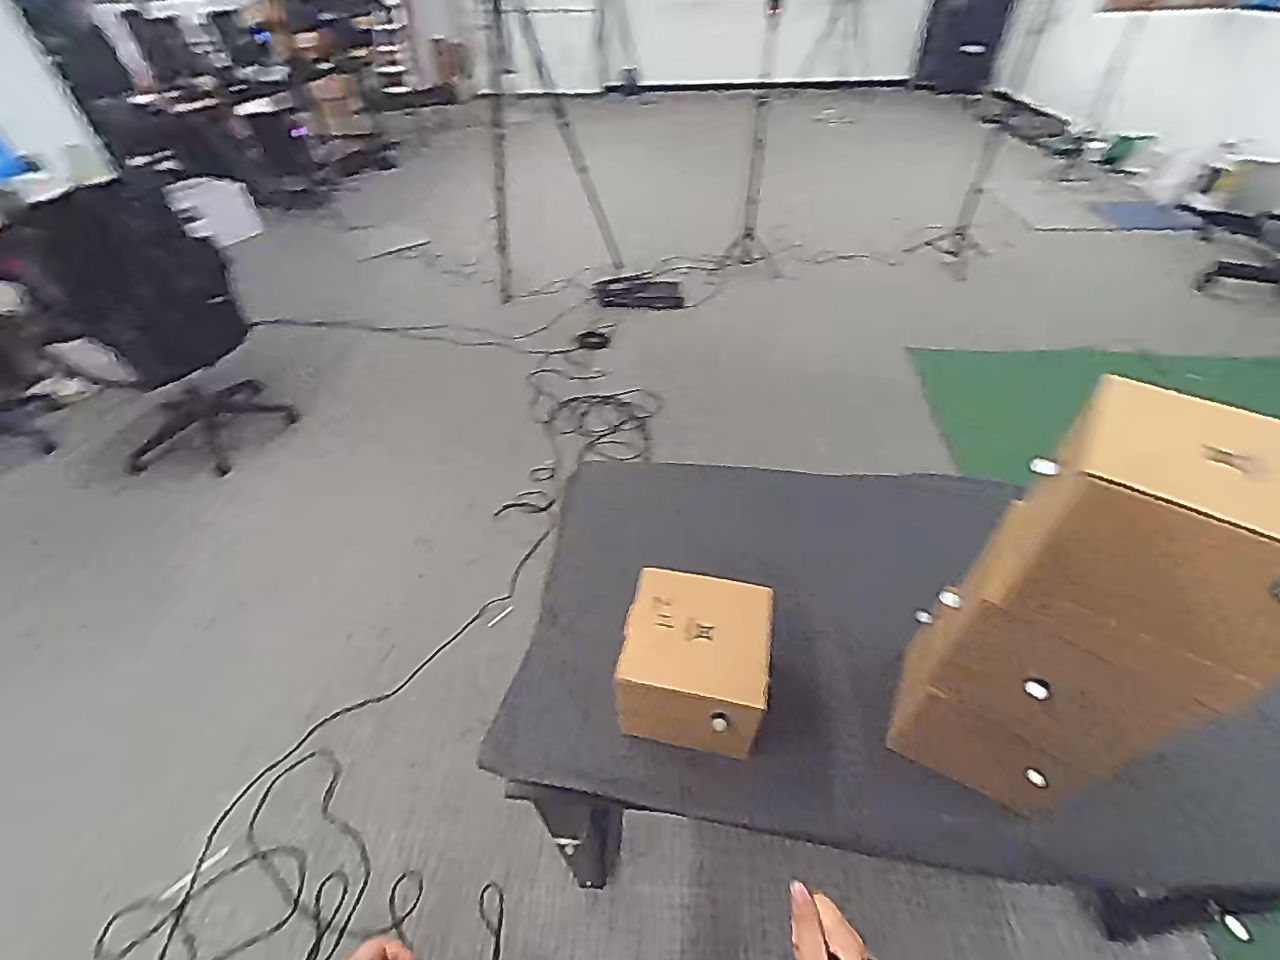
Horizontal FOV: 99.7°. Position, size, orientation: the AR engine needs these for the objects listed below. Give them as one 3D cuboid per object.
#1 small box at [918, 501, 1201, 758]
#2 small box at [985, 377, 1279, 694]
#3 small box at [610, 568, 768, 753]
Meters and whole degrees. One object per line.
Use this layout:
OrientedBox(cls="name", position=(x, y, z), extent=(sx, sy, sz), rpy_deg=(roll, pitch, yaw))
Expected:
OrientedBox(cls="small box", position=(0.430, 0.160, 0.570), extent=(0.179, 0.176, 0.168), rpy_deg=(27, 50, 27))
OrientedBox(cls="small box", position=(0.428, 0.044, 0.456), extent=(0.179, 0.176, 0.168), rpy_deg=(27, 50, 26))
OrientedBox(cls="small box", position=(0.068, 0.246, 0.729), extent=(0.179, 0.176, 0.168), rpy_deg=(7, 46, 10))
